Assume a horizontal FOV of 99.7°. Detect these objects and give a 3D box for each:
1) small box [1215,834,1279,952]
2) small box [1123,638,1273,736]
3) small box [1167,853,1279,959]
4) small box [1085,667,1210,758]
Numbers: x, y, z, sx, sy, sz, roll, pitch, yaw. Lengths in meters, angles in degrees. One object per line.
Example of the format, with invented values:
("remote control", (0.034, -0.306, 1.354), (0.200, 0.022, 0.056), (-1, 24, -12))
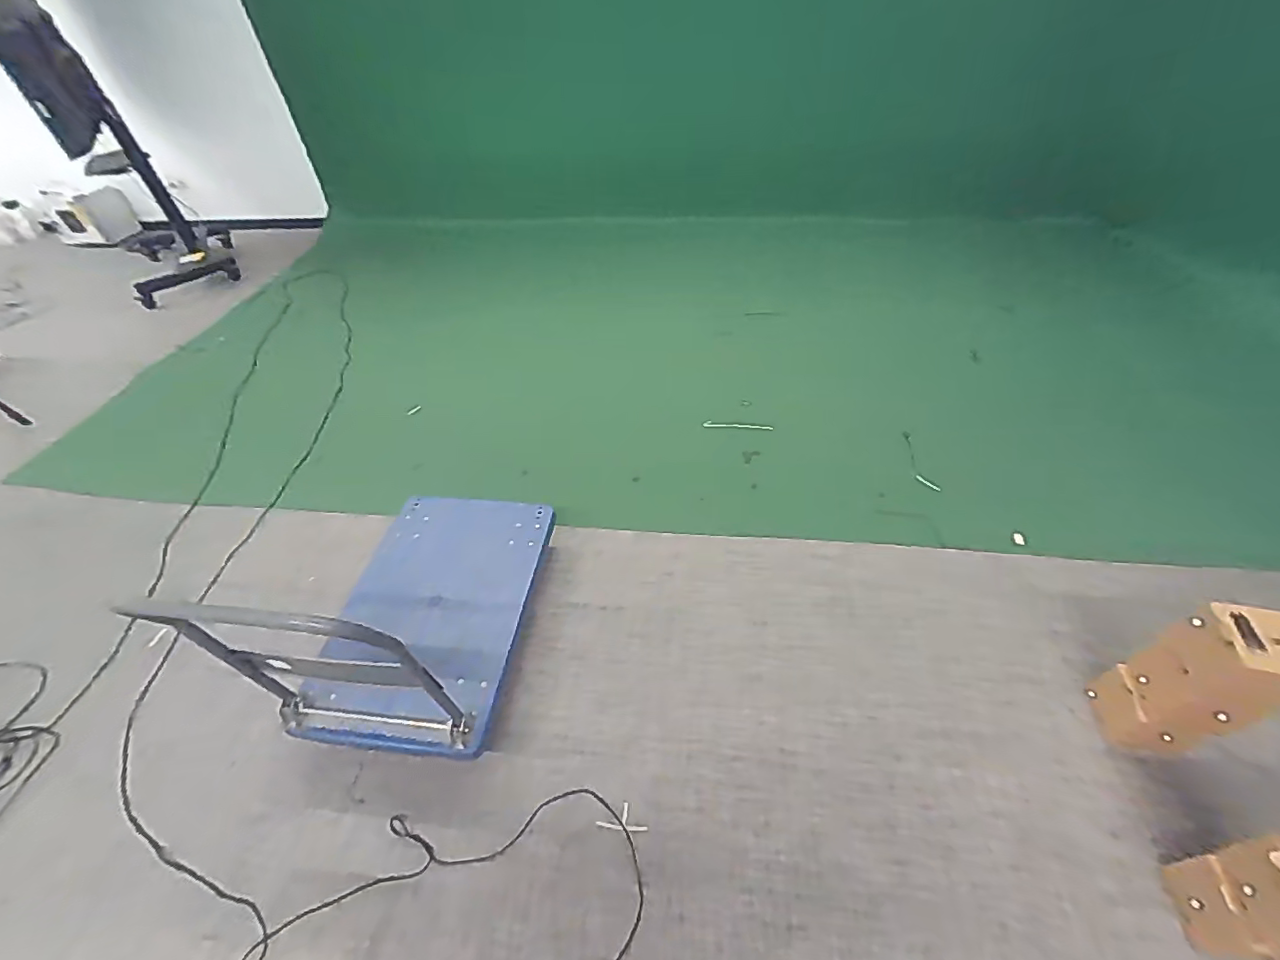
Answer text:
("small box", (1.318, 0.828, 1.060), (0.179, 0.176, 0.168), (8, 46, 11))
("small box", (1.385, 0.524, 1.359), (0.179, 0.176, 0.168), (7, 47, 11))
("small box", (1.316, 0.943, 1.179), (0.179, 0.176, 0.168), (4, 46, 9))
("small box", (1.380, 0.644, 1.492), (0.179, 0.176, 0.168), (7, 47, 10))
